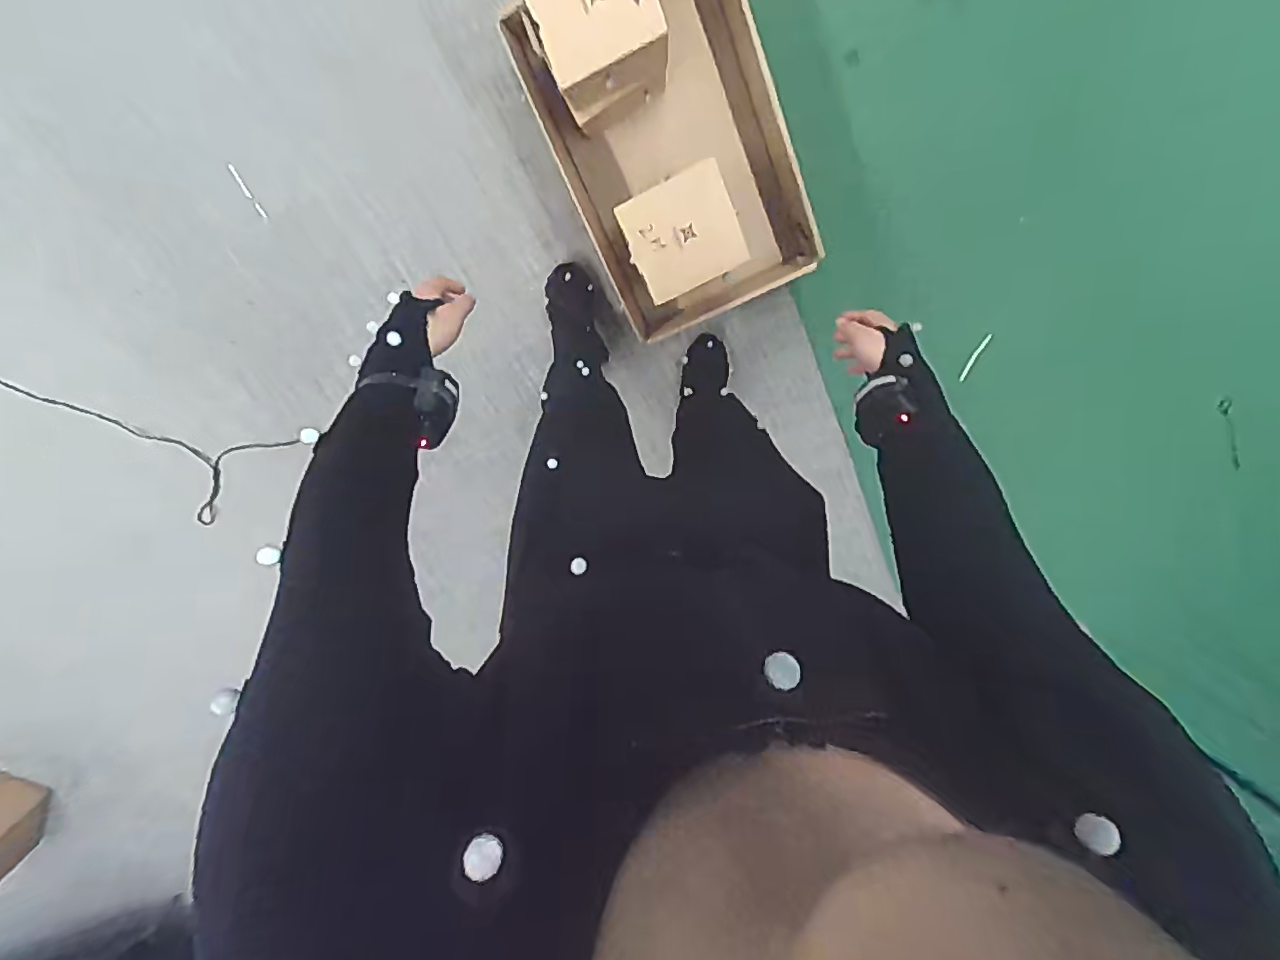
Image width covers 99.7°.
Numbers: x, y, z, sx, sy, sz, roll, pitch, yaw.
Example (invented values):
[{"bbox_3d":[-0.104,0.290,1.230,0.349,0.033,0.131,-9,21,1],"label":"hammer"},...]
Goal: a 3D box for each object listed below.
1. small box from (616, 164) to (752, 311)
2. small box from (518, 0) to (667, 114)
[{"bbox_3d":[0.074,-0.415,0.936,0.179,0.176,0.168,-22,110,13],"label":"small box"},{"bbox_3d":[-0.067,-0.690,0.818,0.179,0.176,0.168,-20,112,12],"label":"small box"}]
